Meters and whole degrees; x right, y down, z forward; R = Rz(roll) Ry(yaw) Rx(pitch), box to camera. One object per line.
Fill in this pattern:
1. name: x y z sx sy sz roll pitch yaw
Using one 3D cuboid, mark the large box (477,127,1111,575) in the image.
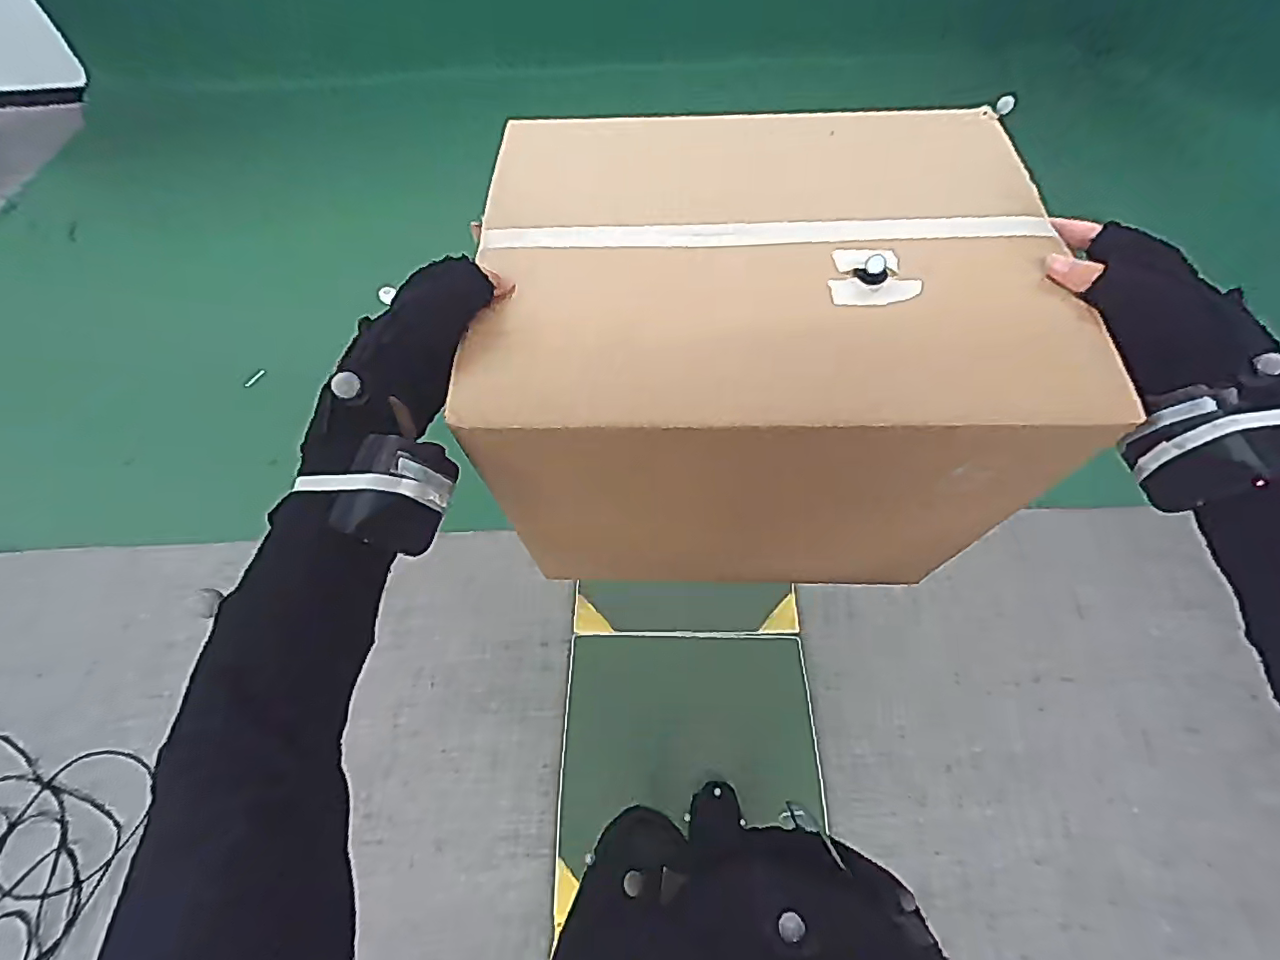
1. large box: 0.095 -0.101 0.535 0.408 0.320 0.320 0 63 1
